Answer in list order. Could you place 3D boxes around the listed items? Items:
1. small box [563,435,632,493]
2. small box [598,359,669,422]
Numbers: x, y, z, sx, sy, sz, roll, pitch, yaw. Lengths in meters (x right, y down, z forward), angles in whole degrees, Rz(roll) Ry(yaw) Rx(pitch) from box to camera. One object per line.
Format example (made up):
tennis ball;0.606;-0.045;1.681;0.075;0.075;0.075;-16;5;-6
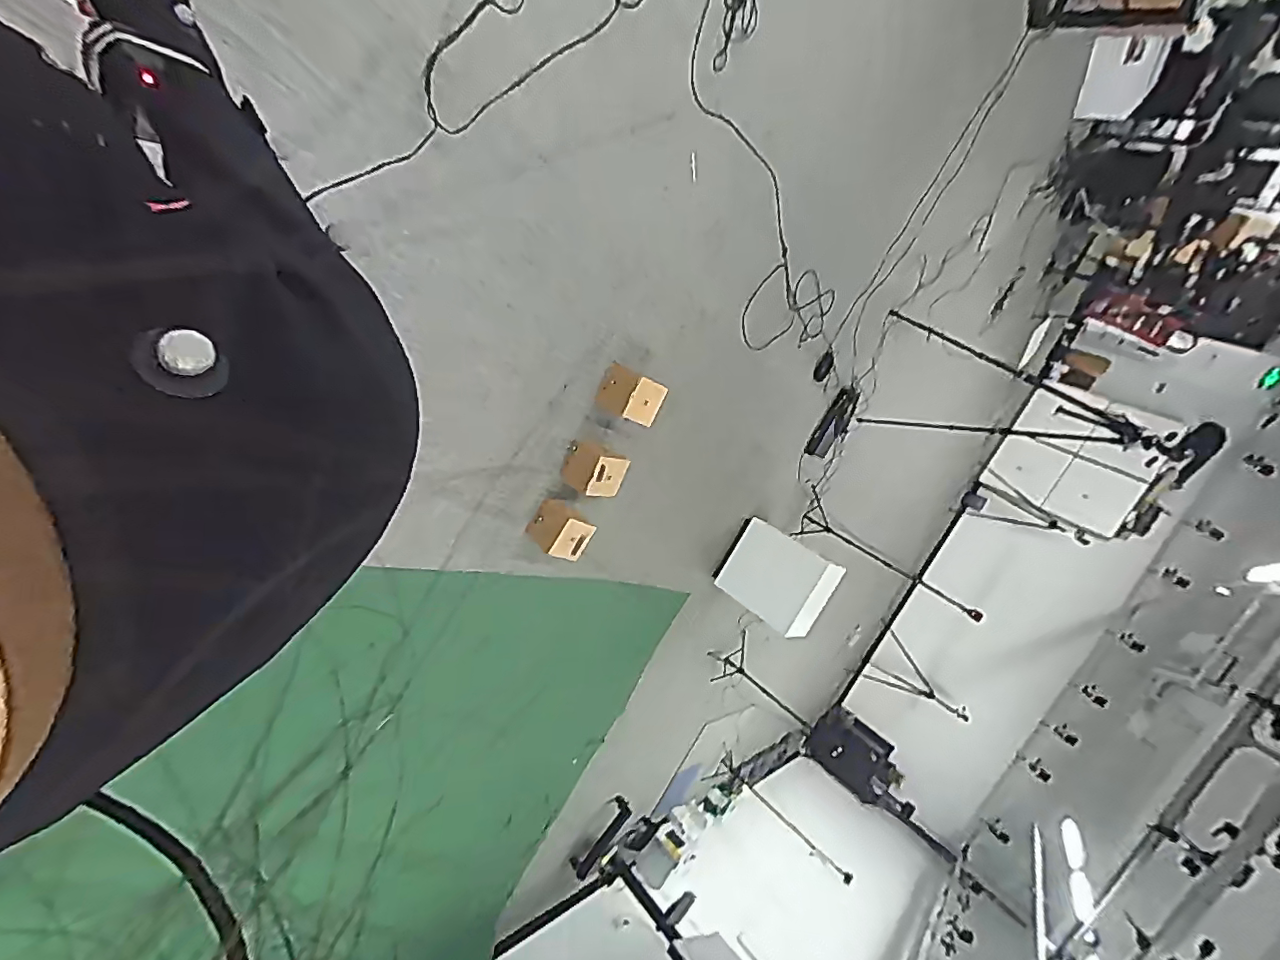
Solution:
small box;-0.171;-0.065;2.121;0.179;0.176;0.168;6;113;-51
small box;-0.027;-0.343;2.067;0.179;0.176;0.168;13;107;-51
